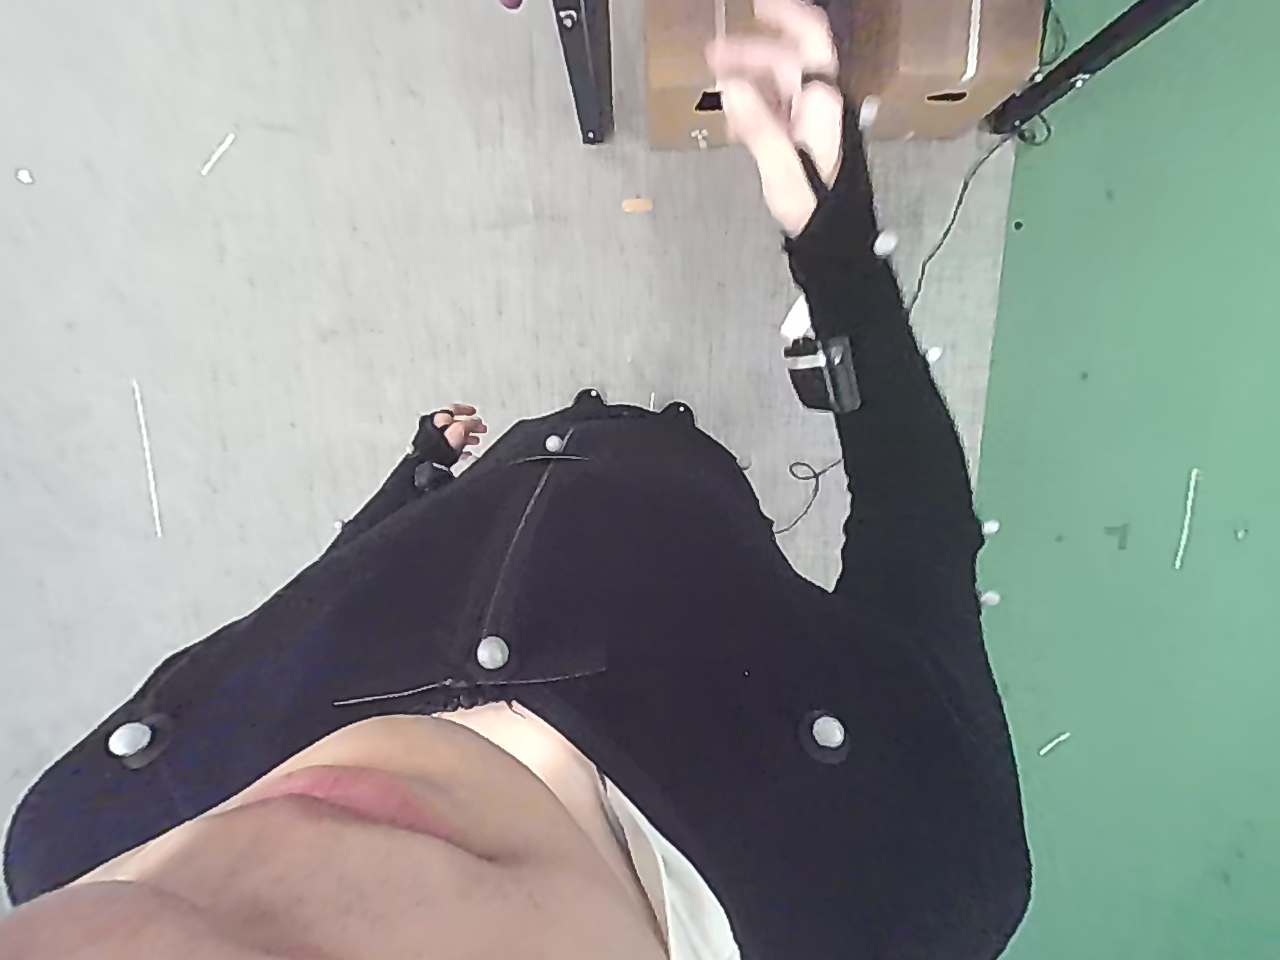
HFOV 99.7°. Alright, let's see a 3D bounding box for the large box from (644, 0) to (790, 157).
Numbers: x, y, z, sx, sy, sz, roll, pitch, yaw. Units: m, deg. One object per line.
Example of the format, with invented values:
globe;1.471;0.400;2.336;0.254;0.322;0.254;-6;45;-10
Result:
large box;0.171;-1.080;1.326;0.320;0.320;0.408;-2;97;0
